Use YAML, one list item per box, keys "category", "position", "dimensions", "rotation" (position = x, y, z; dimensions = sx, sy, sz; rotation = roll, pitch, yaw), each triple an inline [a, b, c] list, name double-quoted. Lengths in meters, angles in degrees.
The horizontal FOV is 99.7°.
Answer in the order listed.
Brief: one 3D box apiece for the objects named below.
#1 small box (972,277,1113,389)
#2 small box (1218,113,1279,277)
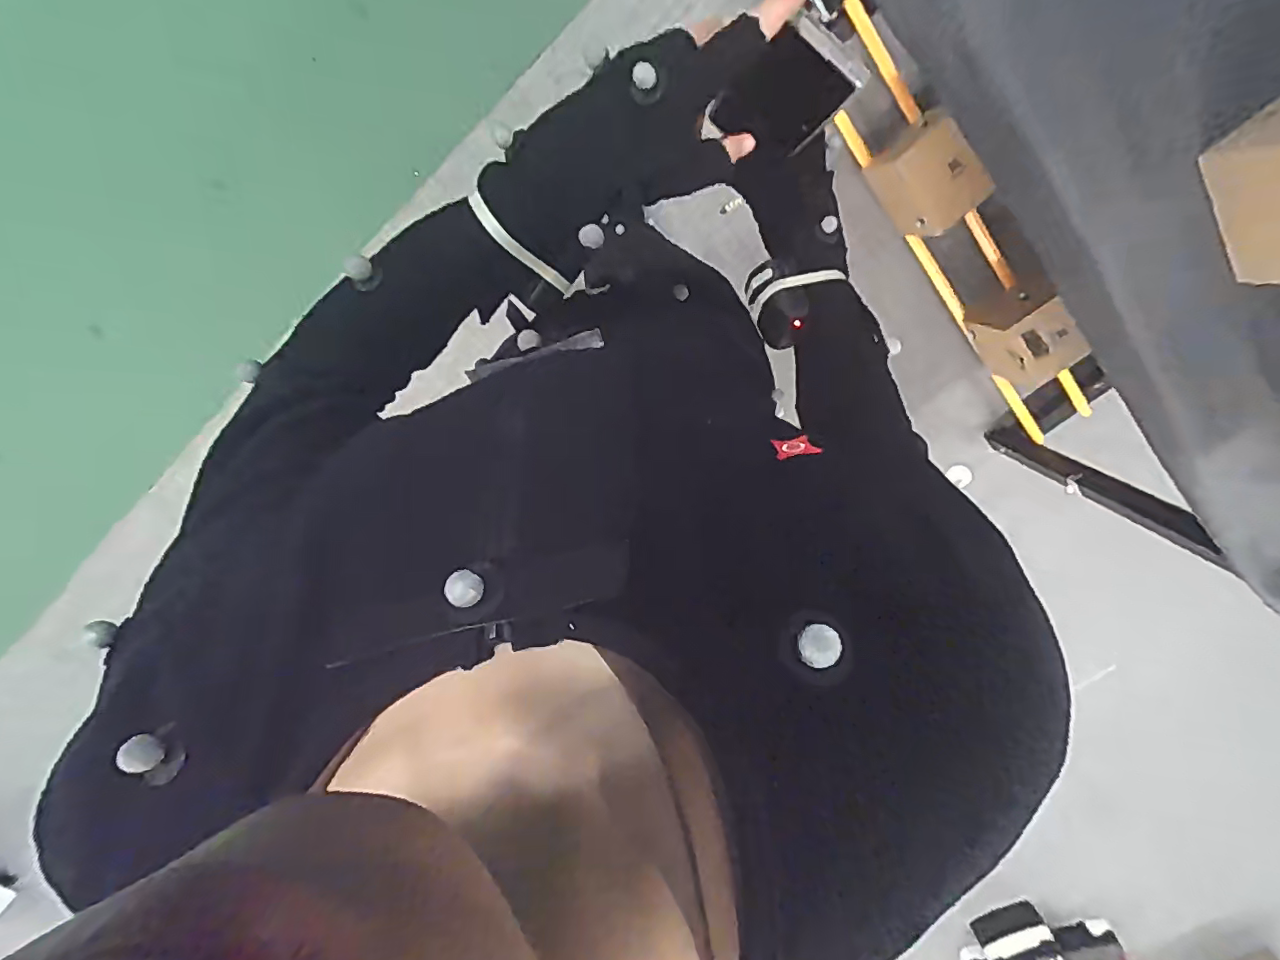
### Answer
- category: "small box"
  position: [0.891, -0.334, 1.219]
  dimensions: [0.179, 0.176, 0.168]
  rotation: [-36, 109, 12]
- category: "small box"
  position: [0.757, -0.319, 0.544]
  dimensions: [0.168, 0.176, 0.179]
  rotation: [-37, 109, 12]
